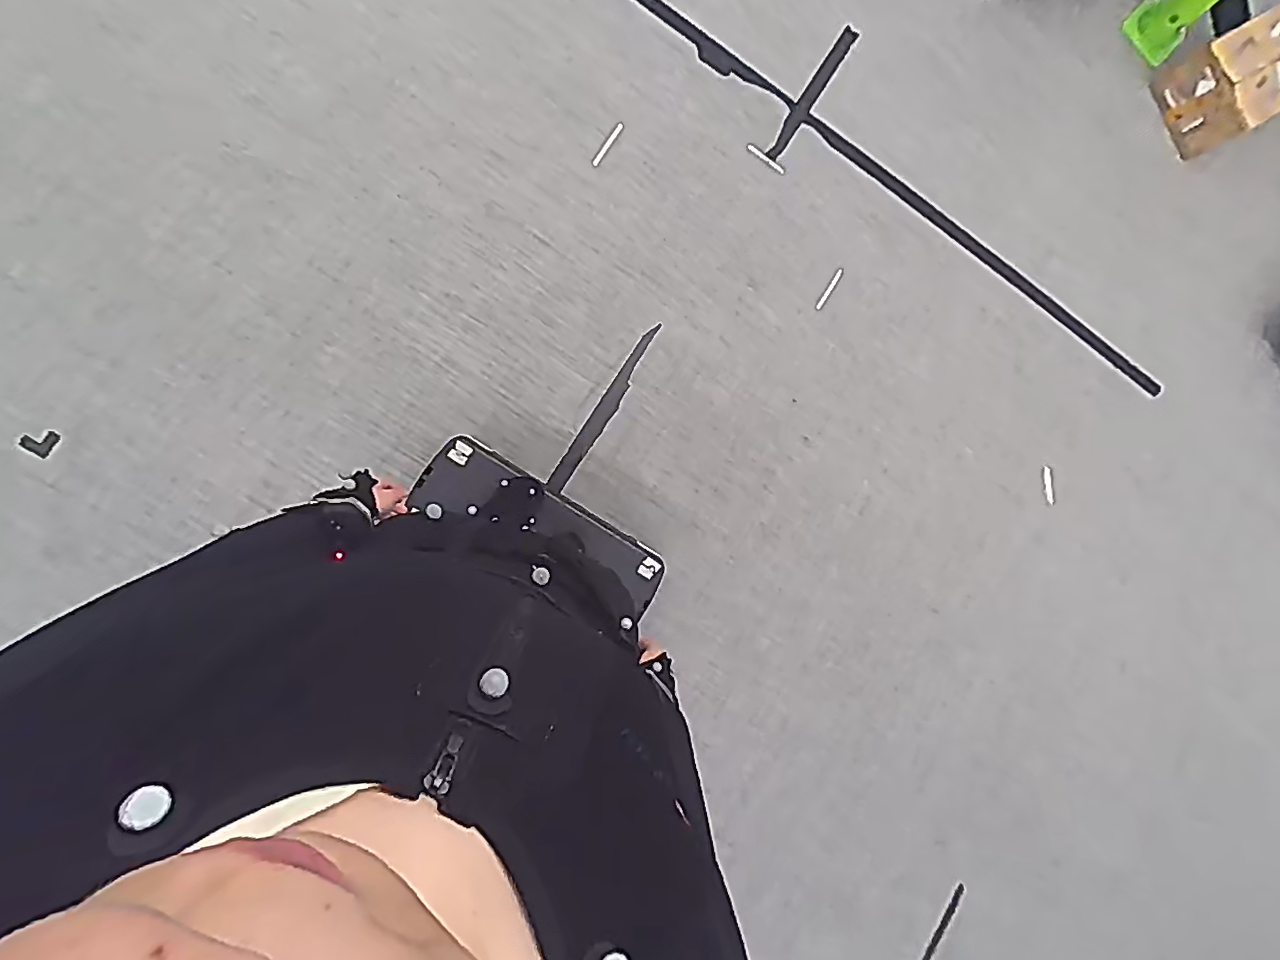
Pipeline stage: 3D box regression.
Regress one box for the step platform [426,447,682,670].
[{"bbox_3d":[-0.221,0.209,1.461,0.684,0.204,0.286,37,83,-7],"label":"step platform"}]
